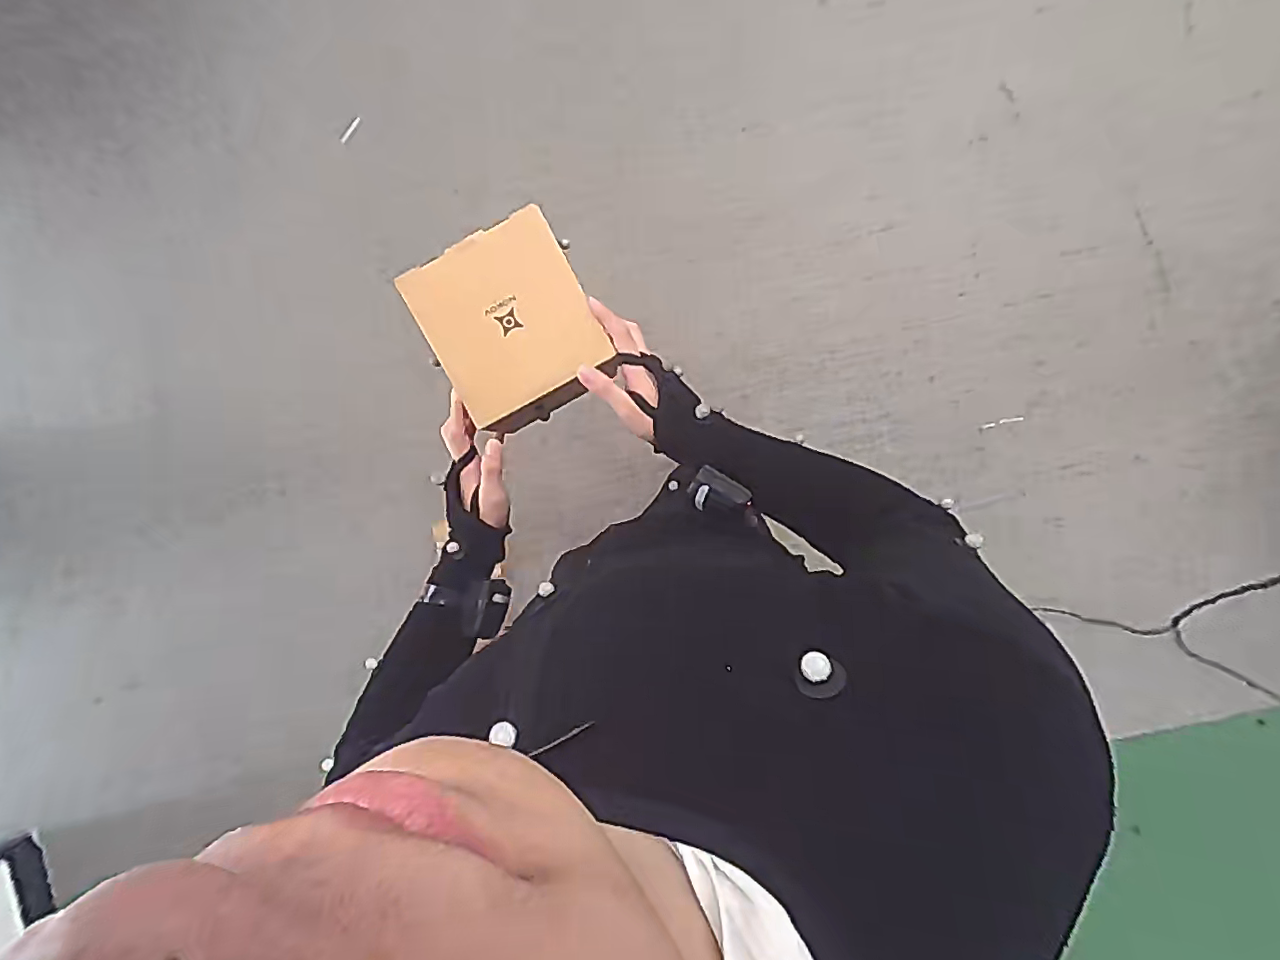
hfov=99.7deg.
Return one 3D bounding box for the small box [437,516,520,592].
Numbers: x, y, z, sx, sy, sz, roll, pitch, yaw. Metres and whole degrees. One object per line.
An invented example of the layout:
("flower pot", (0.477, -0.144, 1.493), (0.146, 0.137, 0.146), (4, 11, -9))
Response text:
("small box", (-0.455, 0.206, 1.554), (0.168, 0.176, 0.179), (-12, 89, 2))
